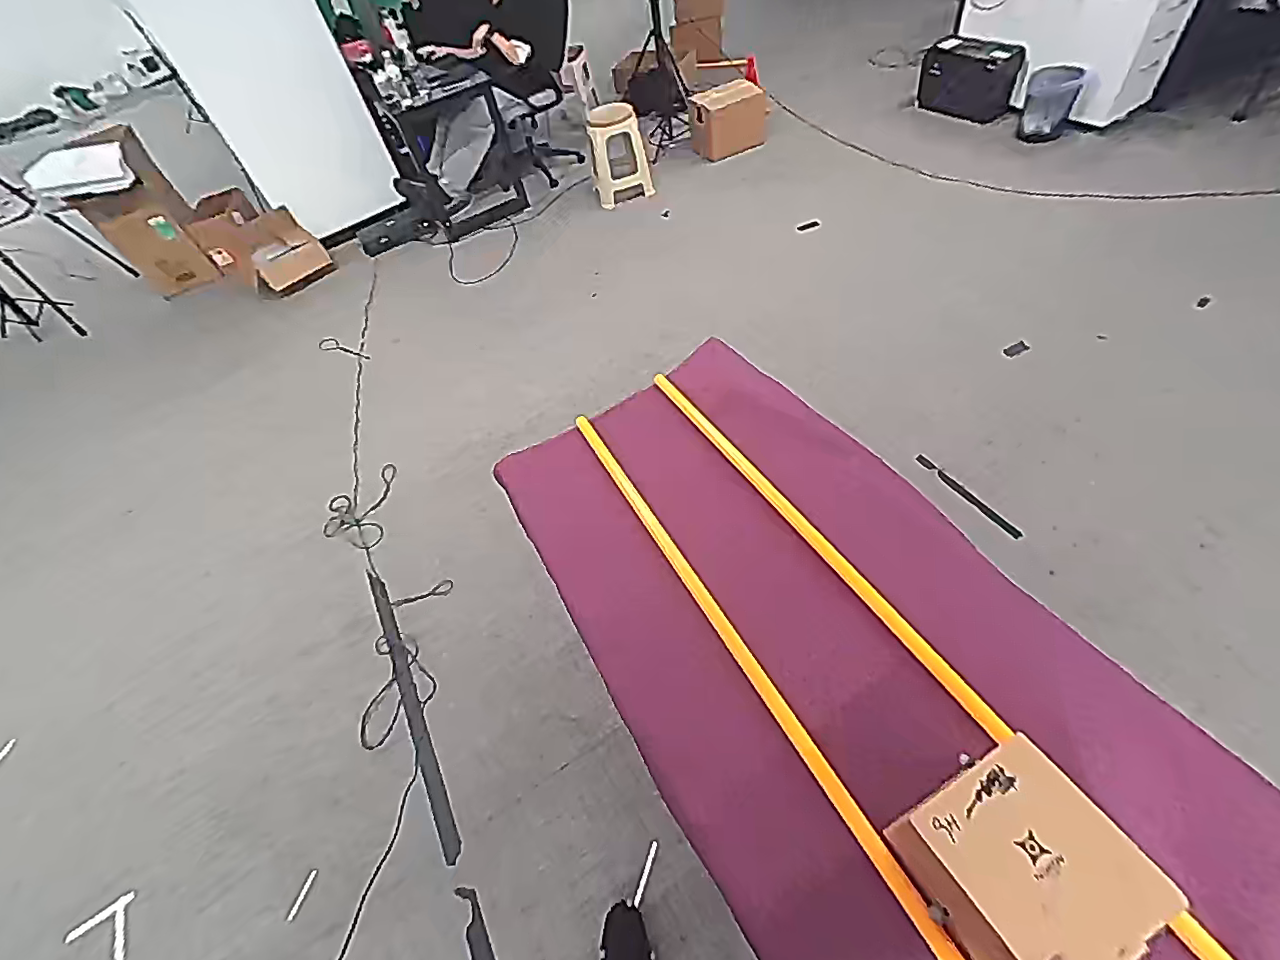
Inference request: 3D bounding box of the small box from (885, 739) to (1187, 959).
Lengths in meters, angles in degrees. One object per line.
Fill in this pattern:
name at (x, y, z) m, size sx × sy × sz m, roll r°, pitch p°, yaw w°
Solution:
small box at (0.403, 0.422, 0.591) m, size 0.168 × 0.176 × 0.179 m, roll -28°, pitch 52°, yaw -10°
